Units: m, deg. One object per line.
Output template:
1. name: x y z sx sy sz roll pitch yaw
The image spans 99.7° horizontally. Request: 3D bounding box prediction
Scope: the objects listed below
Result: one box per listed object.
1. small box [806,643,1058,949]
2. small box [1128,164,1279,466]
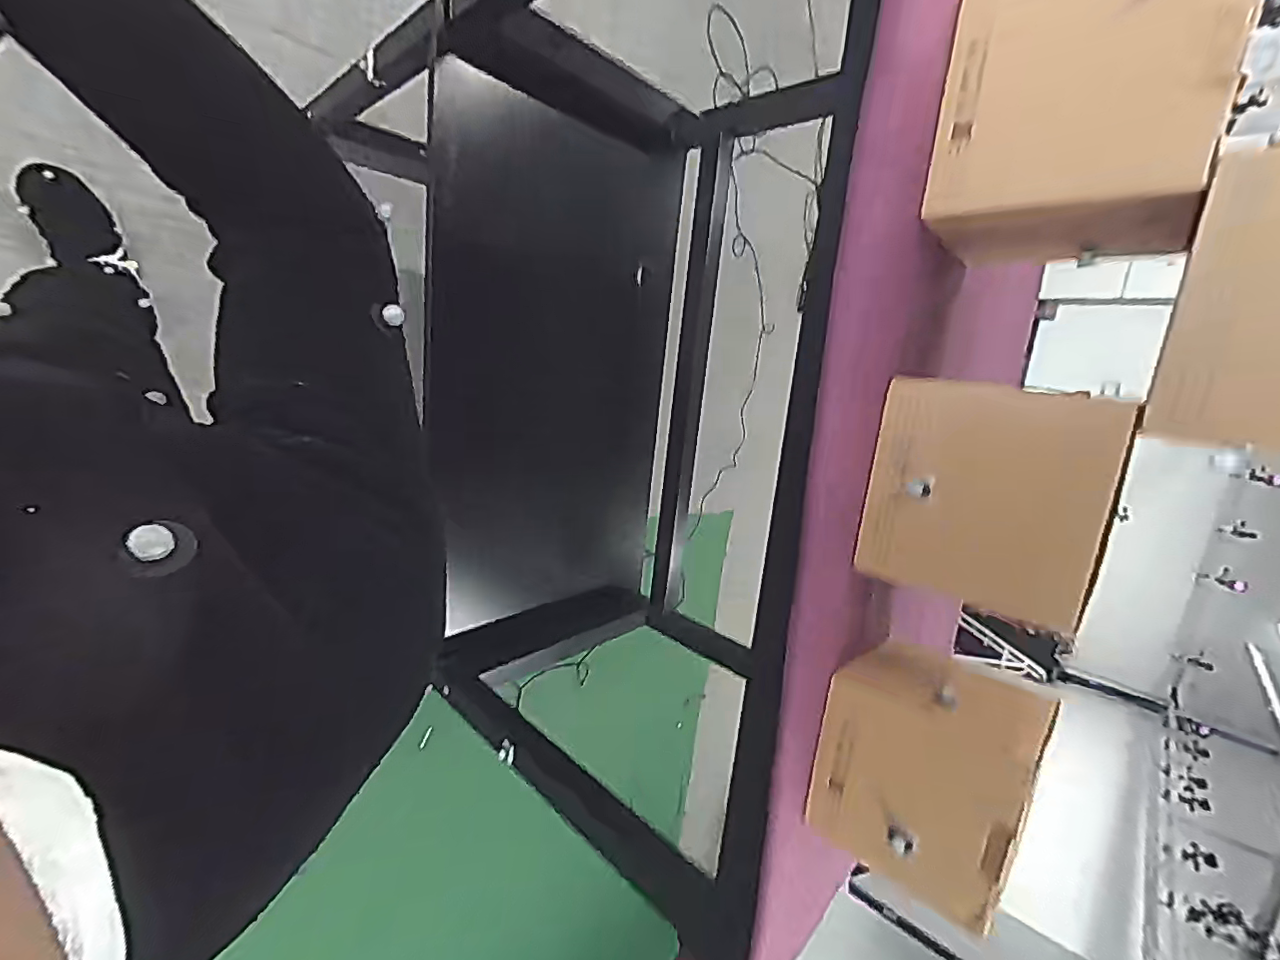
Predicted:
1. small box: 0.287 0.286 0.540 0.179 0.176 0.168 0 102 -48
2. small box: 0.453 -0.095 0.351 0.168 0.176 0.179 -4 106 -48
